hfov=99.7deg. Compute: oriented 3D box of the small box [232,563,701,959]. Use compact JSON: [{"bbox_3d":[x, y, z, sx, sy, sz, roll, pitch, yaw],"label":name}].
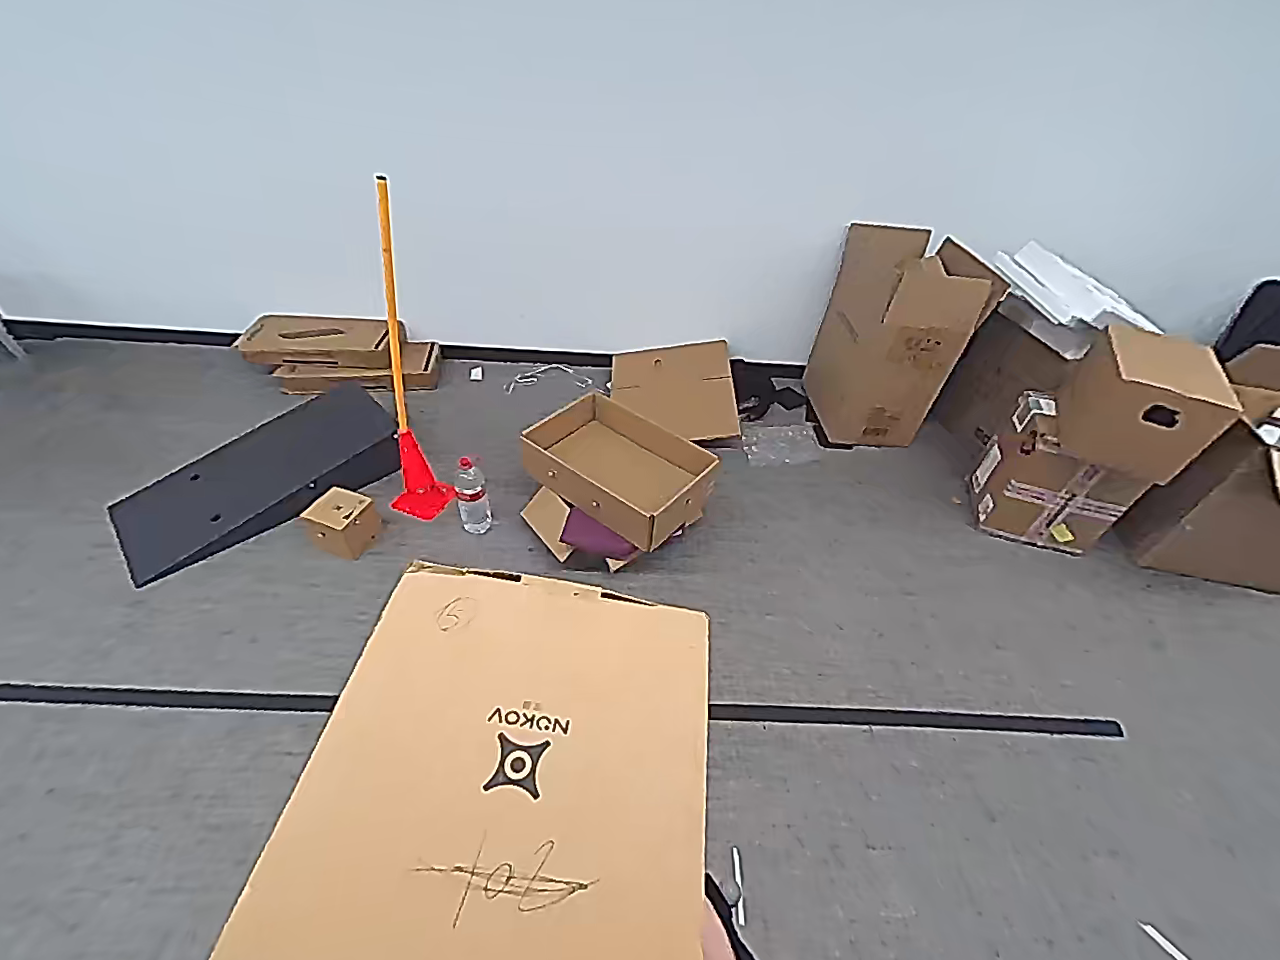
[{"bbox_3d":[-0.067,0.177,0.303,0.168,0.176,0.179,11,46,-3],"label":"small box"}]
